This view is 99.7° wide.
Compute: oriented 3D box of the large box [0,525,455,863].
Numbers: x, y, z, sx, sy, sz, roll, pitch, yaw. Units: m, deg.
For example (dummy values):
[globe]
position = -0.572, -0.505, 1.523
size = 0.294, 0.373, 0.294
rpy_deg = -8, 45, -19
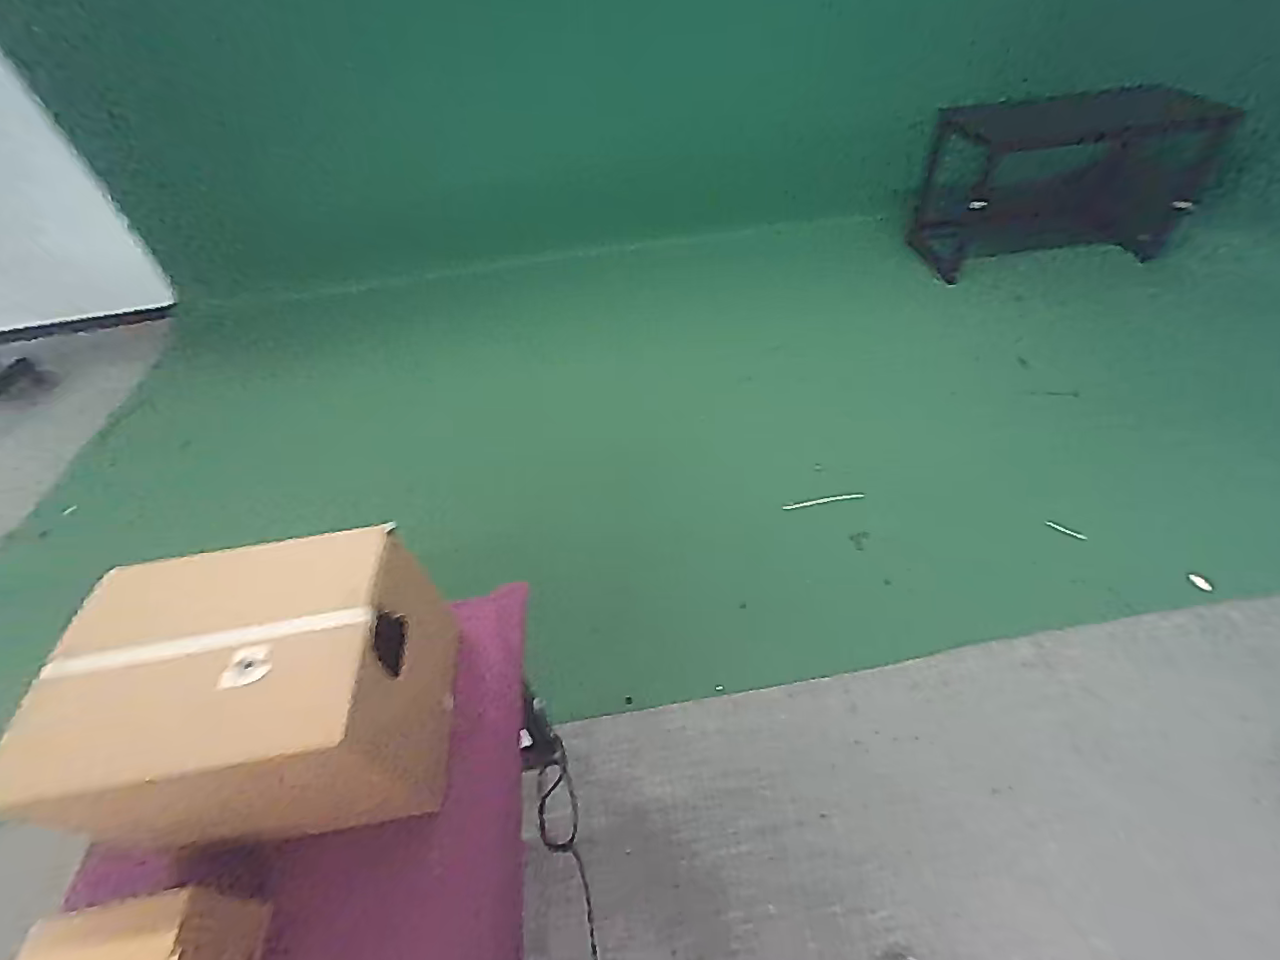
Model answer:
[large box]
position = -0.523, 0.309, 0.782
size = 0.408, 0.320, 0.320
rpy_deg = -9, 48, -4
